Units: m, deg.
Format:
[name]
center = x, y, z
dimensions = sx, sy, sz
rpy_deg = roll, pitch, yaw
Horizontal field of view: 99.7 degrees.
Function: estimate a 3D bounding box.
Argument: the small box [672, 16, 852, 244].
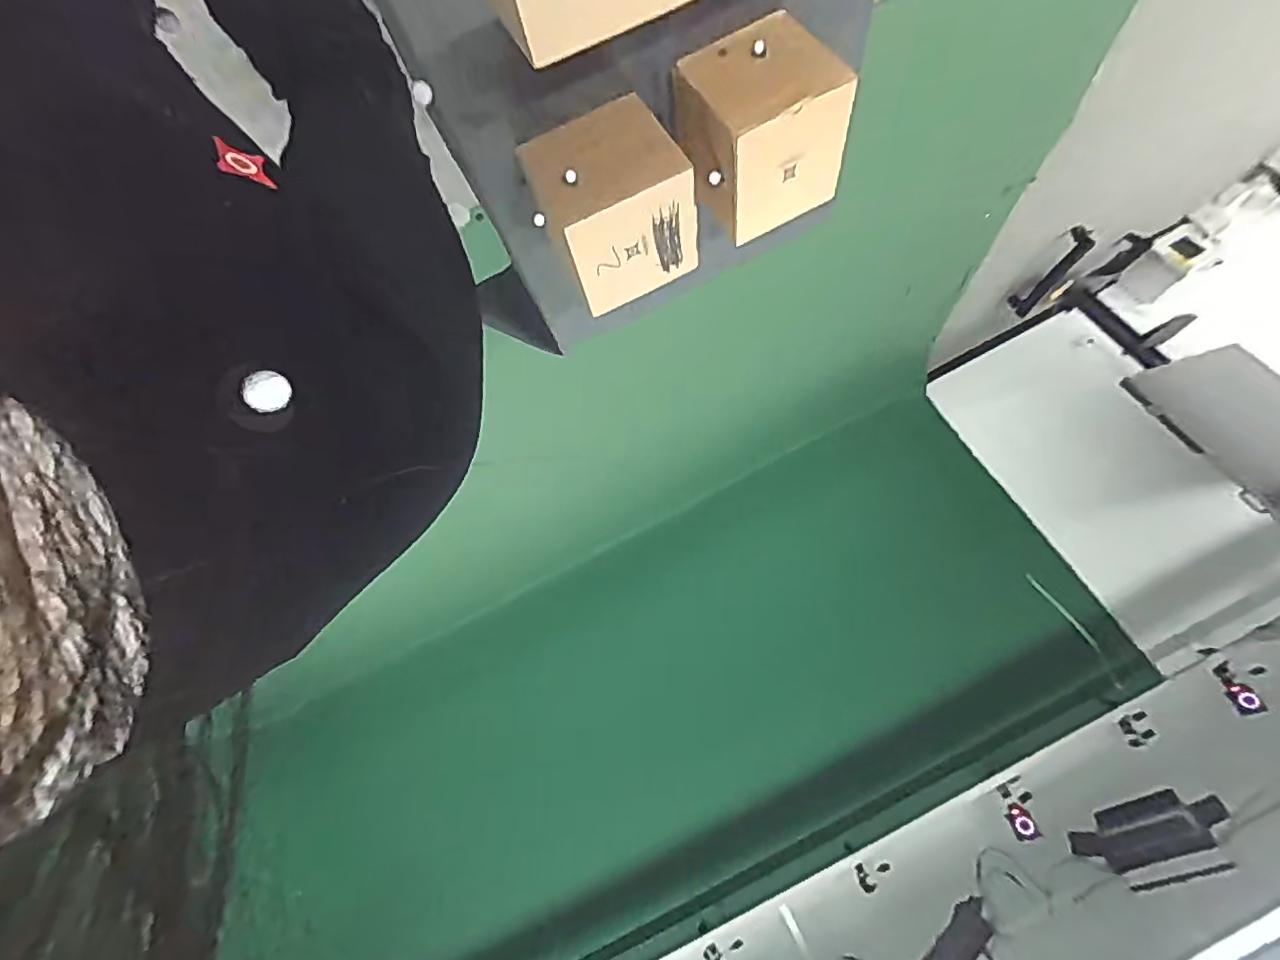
[small box]
center = 0.159, -0.476, 0.746
dimensions = 0.168, 0.176, 0.179
rpy_deg = -28, 156, -2
